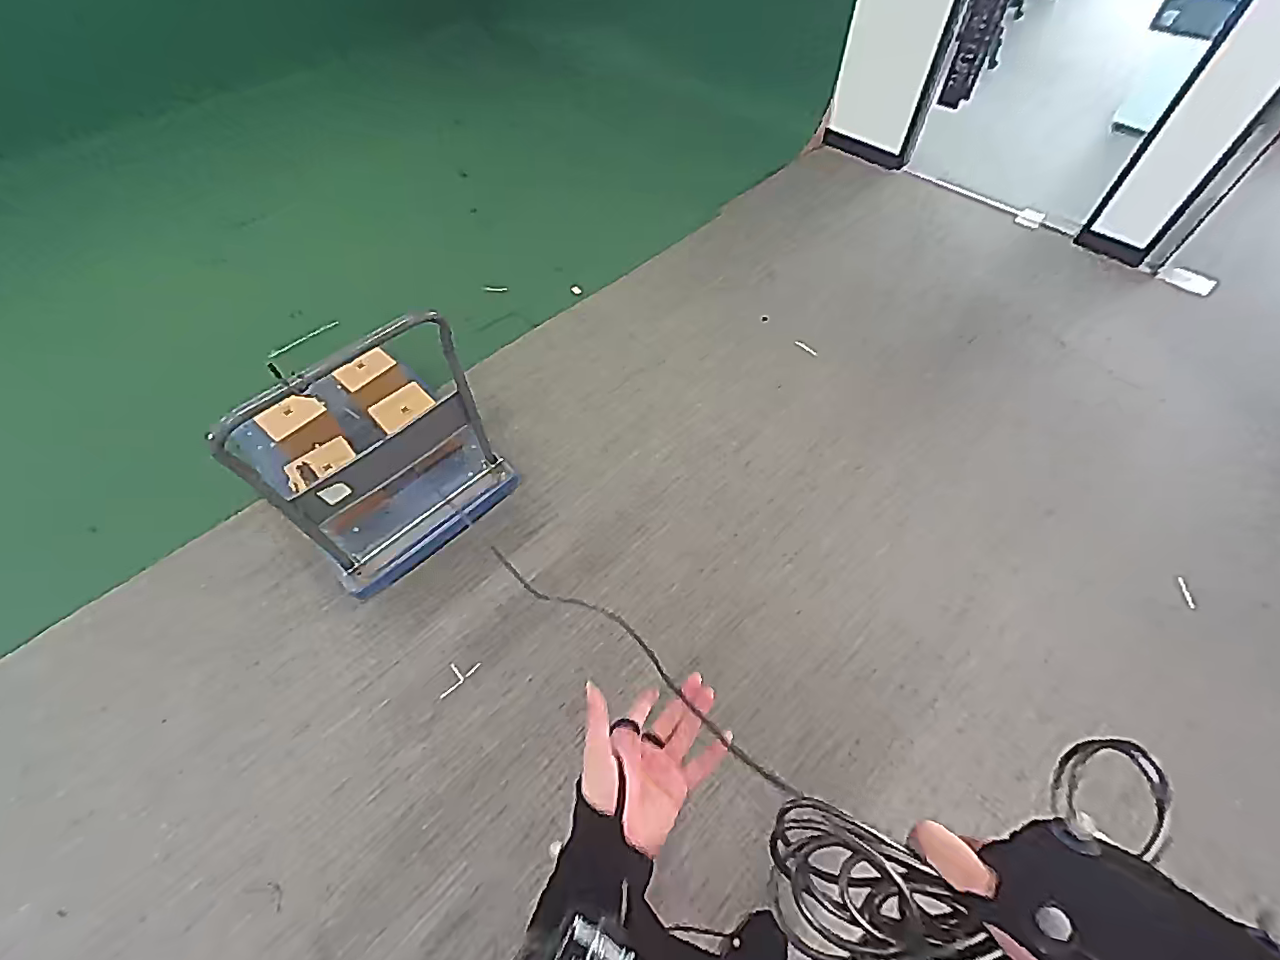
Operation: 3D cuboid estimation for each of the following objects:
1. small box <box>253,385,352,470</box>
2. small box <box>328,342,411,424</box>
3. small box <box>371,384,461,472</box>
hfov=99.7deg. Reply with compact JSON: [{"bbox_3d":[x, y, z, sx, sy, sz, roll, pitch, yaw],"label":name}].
[{"bbox_3d":[-1.044,-0.155,1.687,0.179,0.176,0.168,36,64,22],"label":"small box"},{"bbox_3d":[-0.878,-0.316,1.786,0.179,0.176,0.168,37,66,21],"label":"small box"},{"bbox_3d":[-0.689,-0.156,1.678,0.168,0.176,0.179,-39,65,-21],"label":"small box"}]
